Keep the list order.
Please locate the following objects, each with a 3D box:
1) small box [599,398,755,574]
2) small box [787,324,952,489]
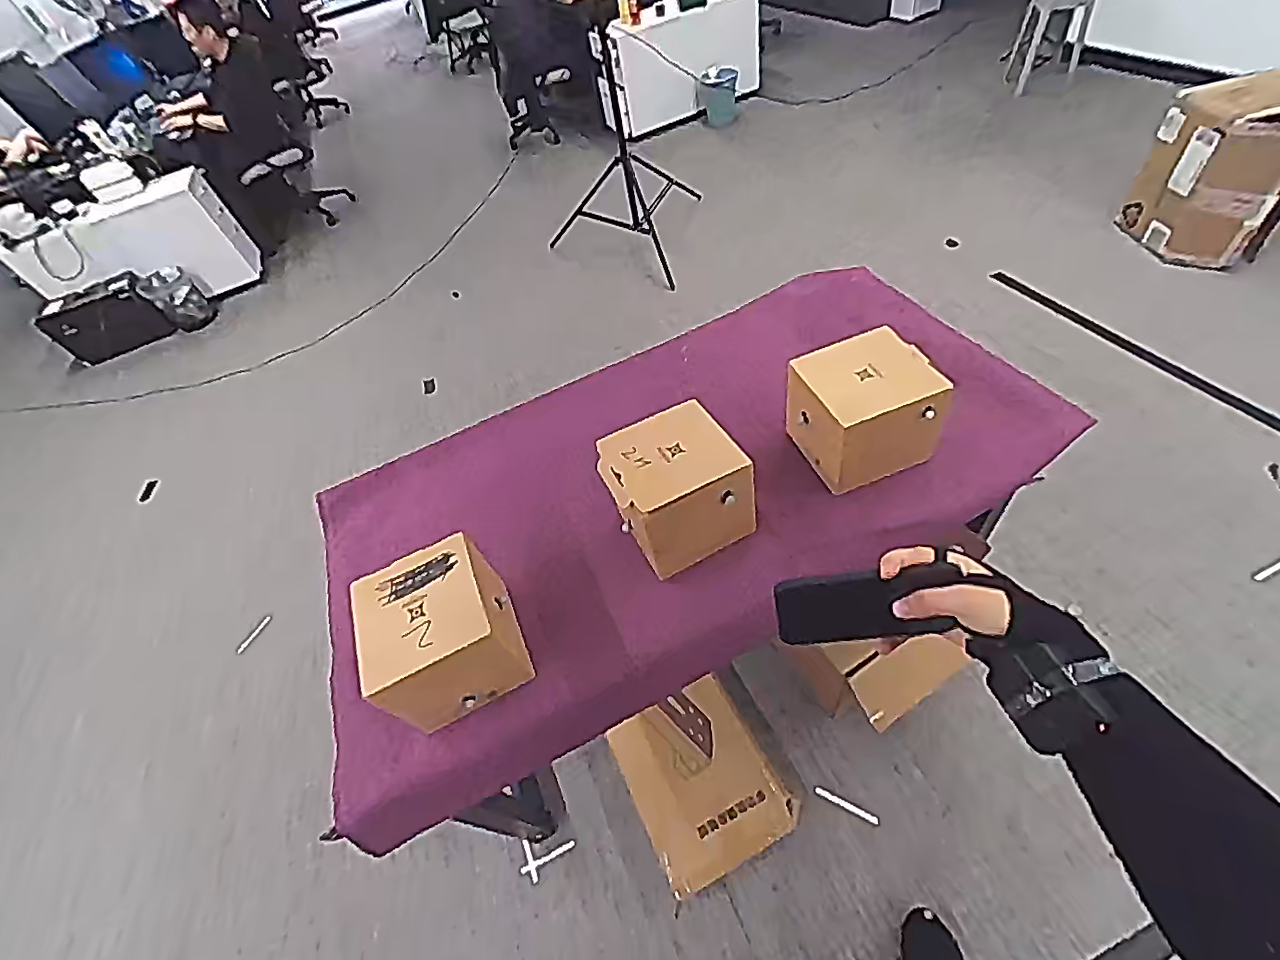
[{"bbox_3d":[0.060,0.011,0.833,0.179,0.176,0.168,-27,49,-8],"label":"small box"},{"bbox_3d":[0.352,-0.113,0.866,0.179,0.176,0.168,-21,51,-4],"label":"small box"}]
